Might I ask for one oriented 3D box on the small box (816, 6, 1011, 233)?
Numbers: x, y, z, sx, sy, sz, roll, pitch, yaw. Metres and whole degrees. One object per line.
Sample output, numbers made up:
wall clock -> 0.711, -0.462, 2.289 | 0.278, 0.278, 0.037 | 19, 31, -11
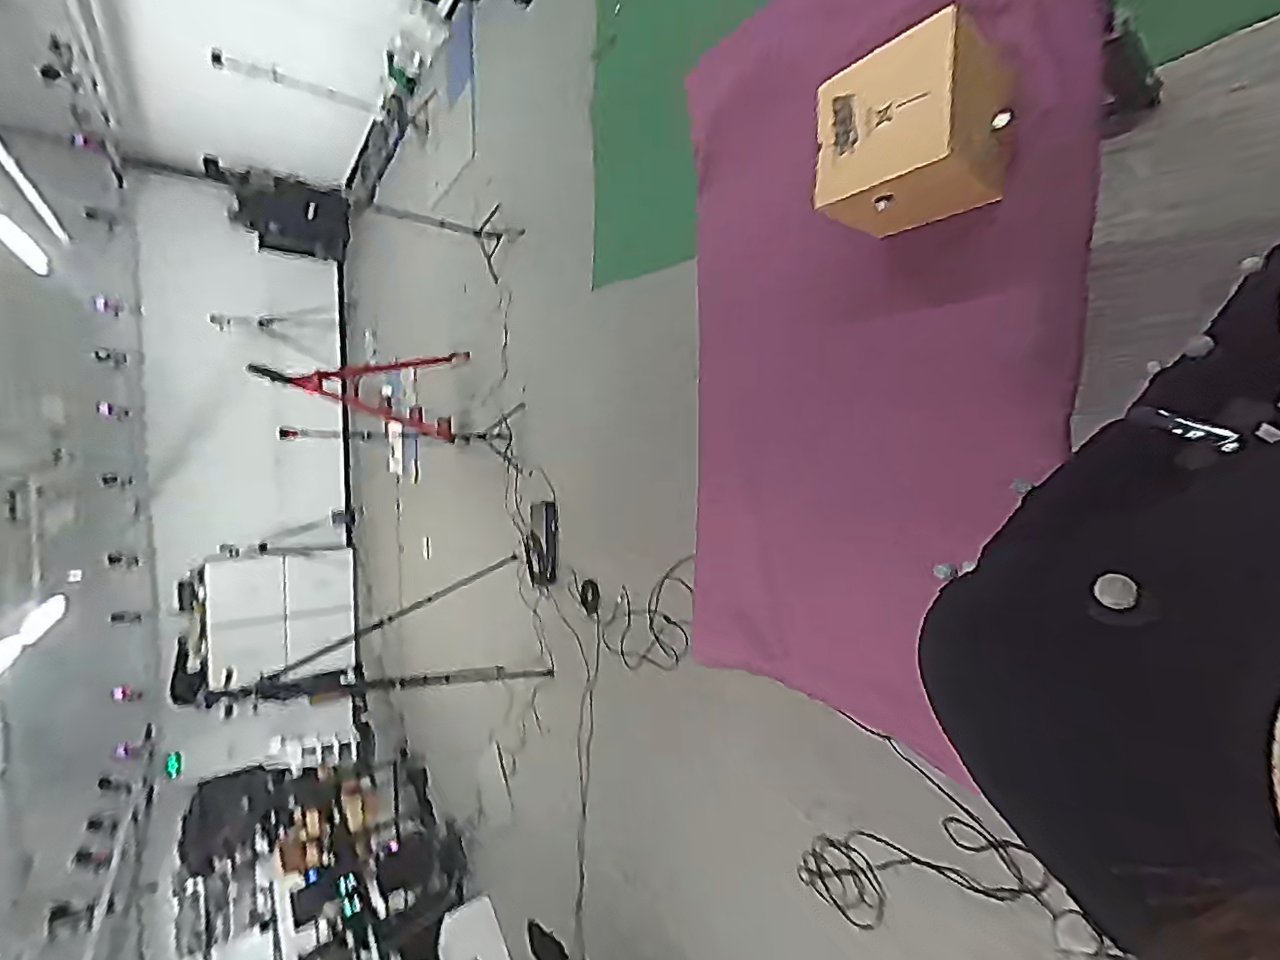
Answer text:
small box -> 0.358, -0.451, 0.718 | 0.179, 0.176, 0.168 | 4, 95, 52
